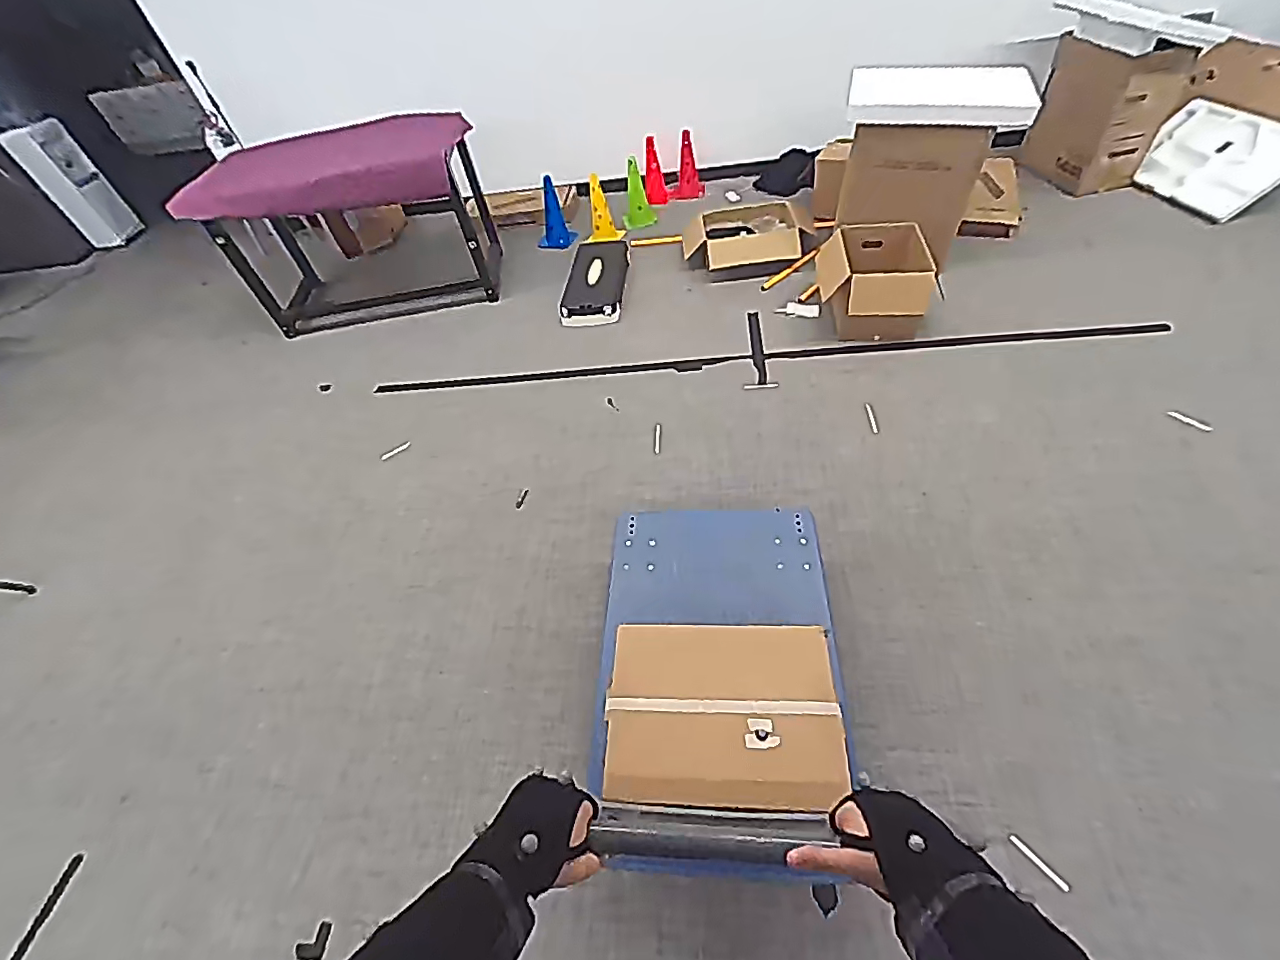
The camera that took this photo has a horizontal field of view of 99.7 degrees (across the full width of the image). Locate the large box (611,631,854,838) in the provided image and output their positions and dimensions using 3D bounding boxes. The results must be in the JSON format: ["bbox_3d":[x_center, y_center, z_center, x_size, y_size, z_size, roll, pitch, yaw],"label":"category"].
[{"bbox_3d":[0.165,0.515,1.087,0.408,0.320,0.320,-2,50,6],"label":"large box"}]
